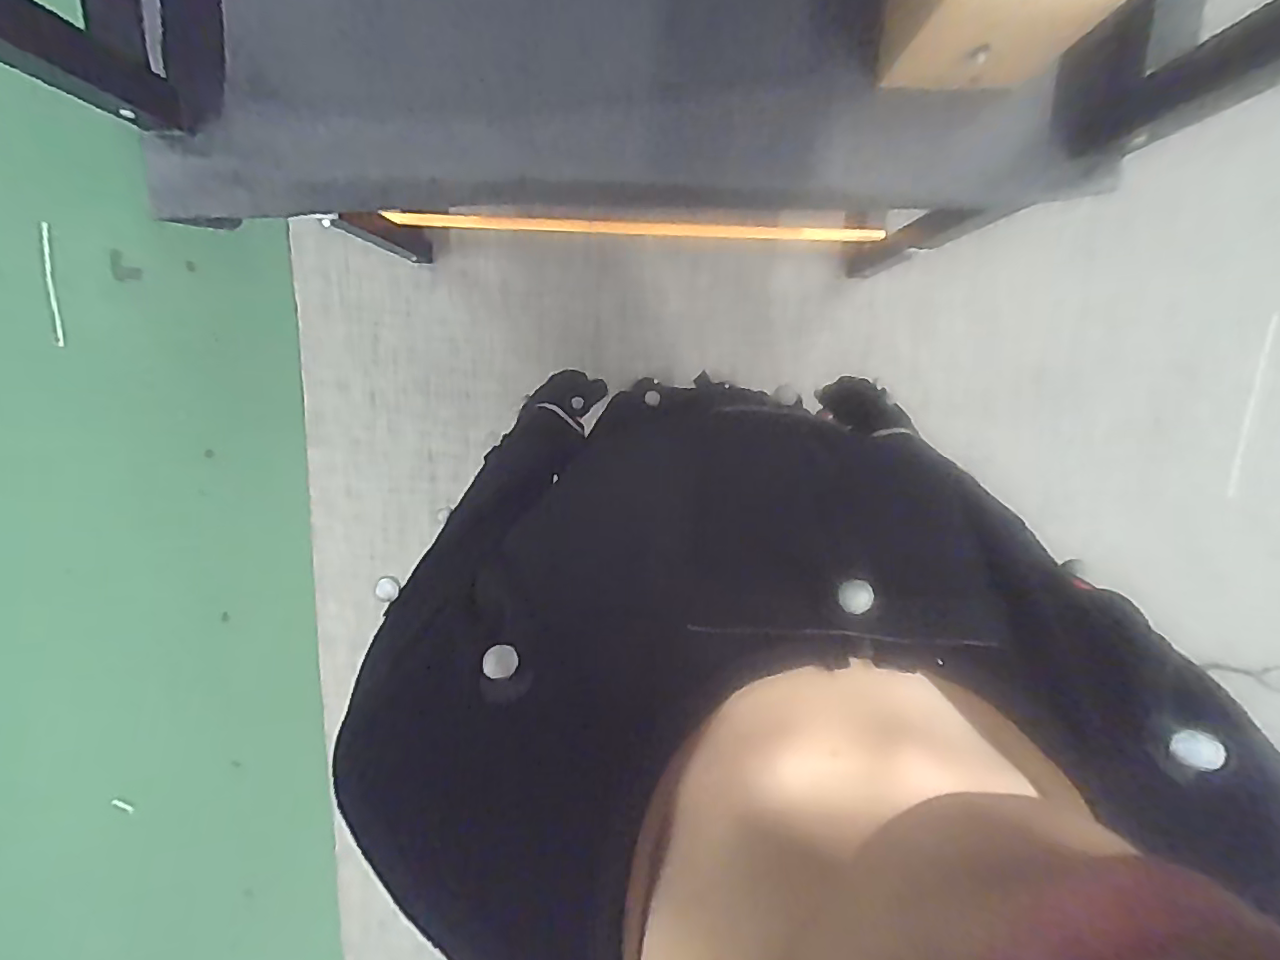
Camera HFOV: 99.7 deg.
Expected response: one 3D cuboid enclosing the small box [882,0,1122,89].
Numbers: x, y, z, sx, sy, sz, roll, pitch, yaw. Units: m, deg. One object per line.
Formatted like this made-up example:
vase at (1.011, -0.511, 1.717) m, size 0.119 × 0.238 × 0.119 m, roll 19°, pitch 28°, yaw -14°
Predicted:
small box at (0.366, -0.536, 0.553) m, size 0.168 × 0.176 × 0.179 m, roll 2°, pitch 100°, yaw 1°
